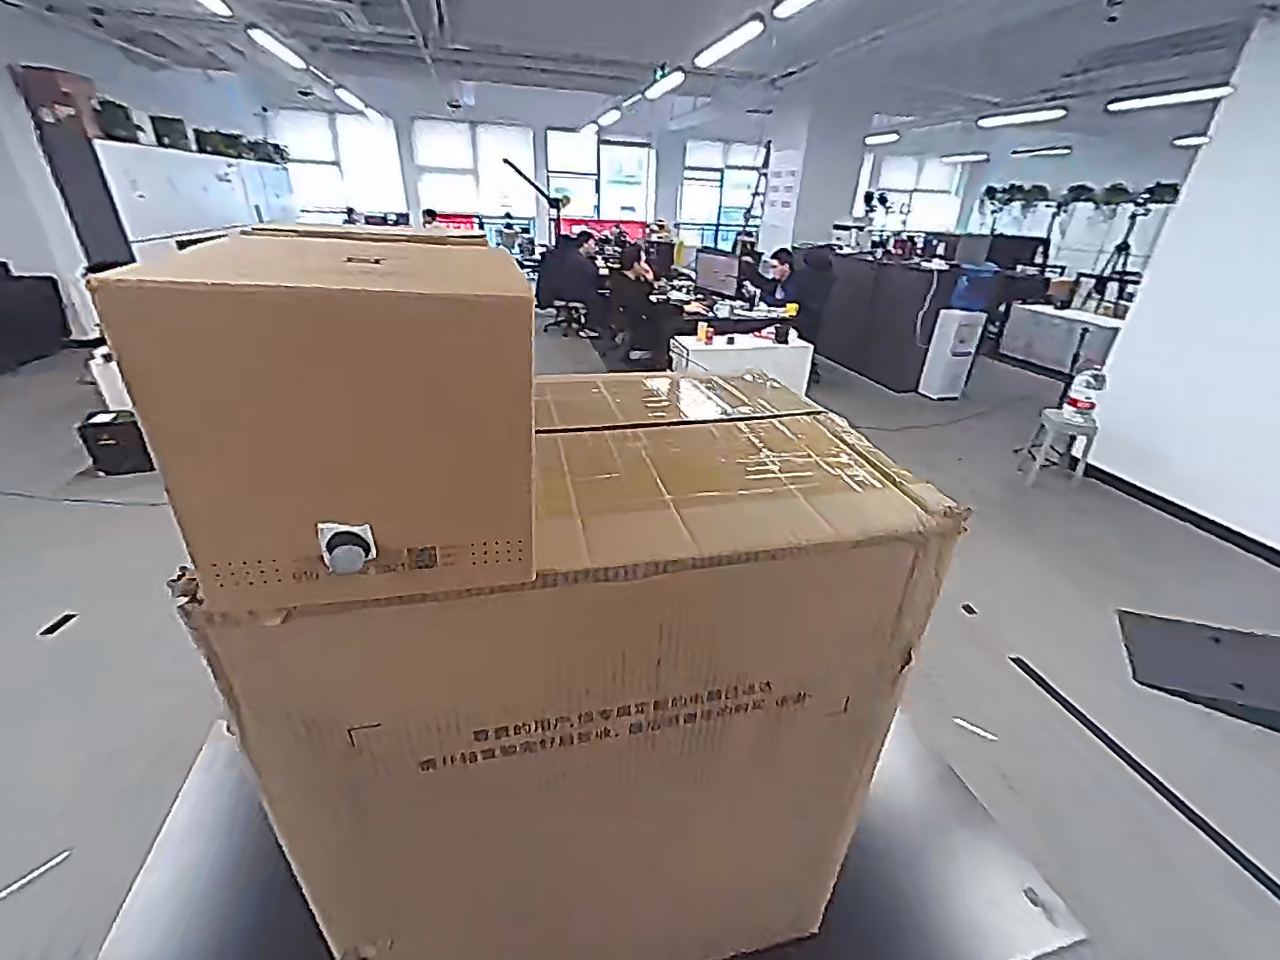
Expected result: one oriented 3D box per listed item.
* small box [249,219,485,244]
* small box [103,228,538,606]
[{"bbox_3d":[-0.227,-0.147,0.510,0.168,0.176,0.179,-5,27,-15],"label":"small box"},{"bbox_3d":[-0.156,-0.050,0.332,0.168,0.176,0.179,-5,30,-17],"label":"small box"}]
